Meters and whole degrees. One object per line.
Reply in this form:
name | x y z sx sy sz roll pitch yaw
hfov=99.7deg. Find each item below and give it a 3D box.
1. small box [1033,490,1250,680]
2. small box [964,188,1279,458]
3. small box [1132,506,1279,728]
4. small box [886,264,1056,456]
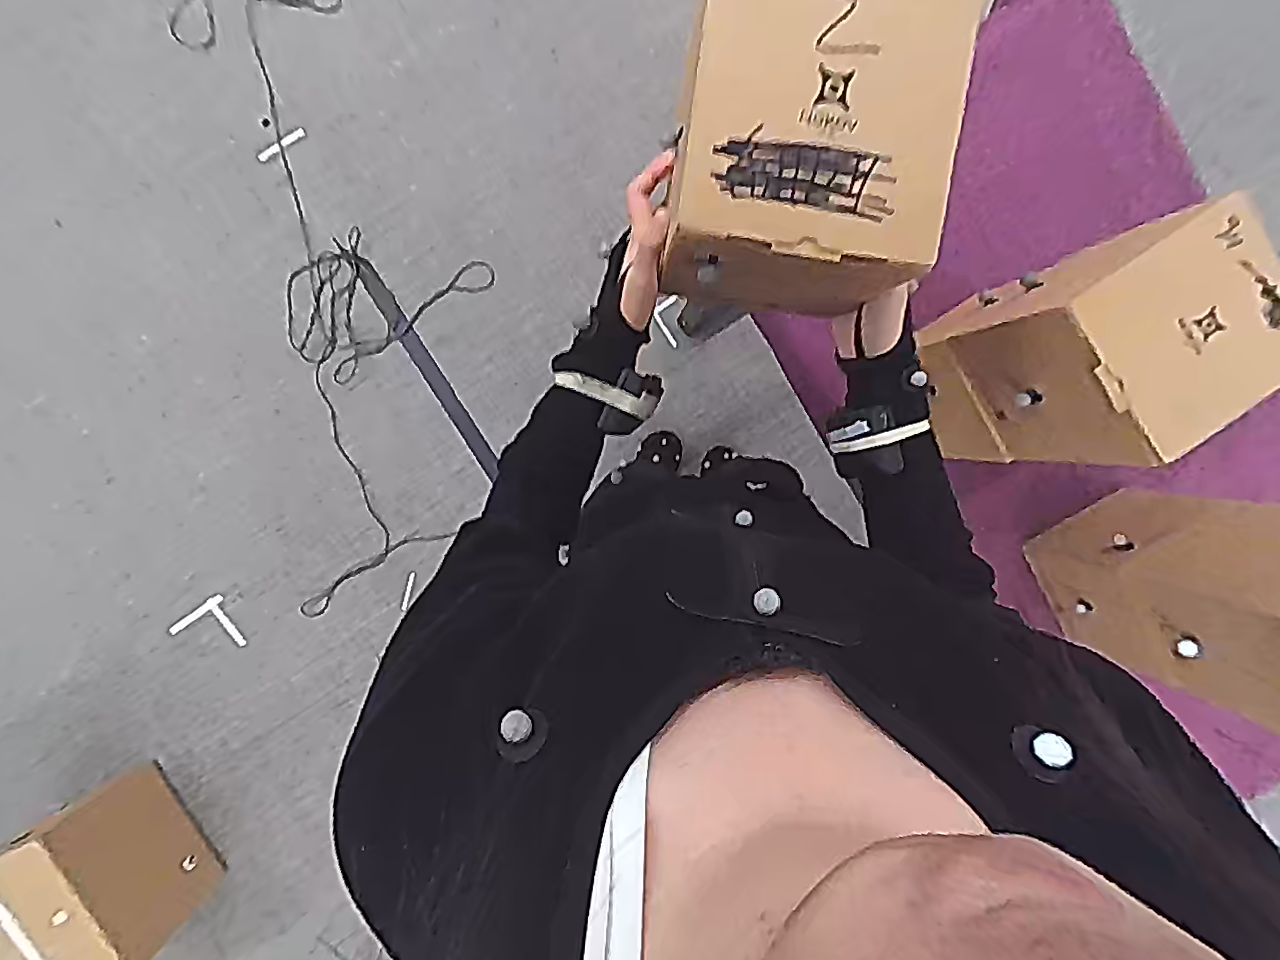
small box | 0.679 0.128 0.728 0.179 0.176 0.168 -29 96 0
small box | 0.464 -0.135 0.535 0.179 0.176 0.168 -34 95 0
small box | 0.691 0.142 0.565 0.179 0.176 0.168 -30 95 1
small box | 0.451 -0.143 0.698 0.179 0.176 0.168 -31 95 -1
